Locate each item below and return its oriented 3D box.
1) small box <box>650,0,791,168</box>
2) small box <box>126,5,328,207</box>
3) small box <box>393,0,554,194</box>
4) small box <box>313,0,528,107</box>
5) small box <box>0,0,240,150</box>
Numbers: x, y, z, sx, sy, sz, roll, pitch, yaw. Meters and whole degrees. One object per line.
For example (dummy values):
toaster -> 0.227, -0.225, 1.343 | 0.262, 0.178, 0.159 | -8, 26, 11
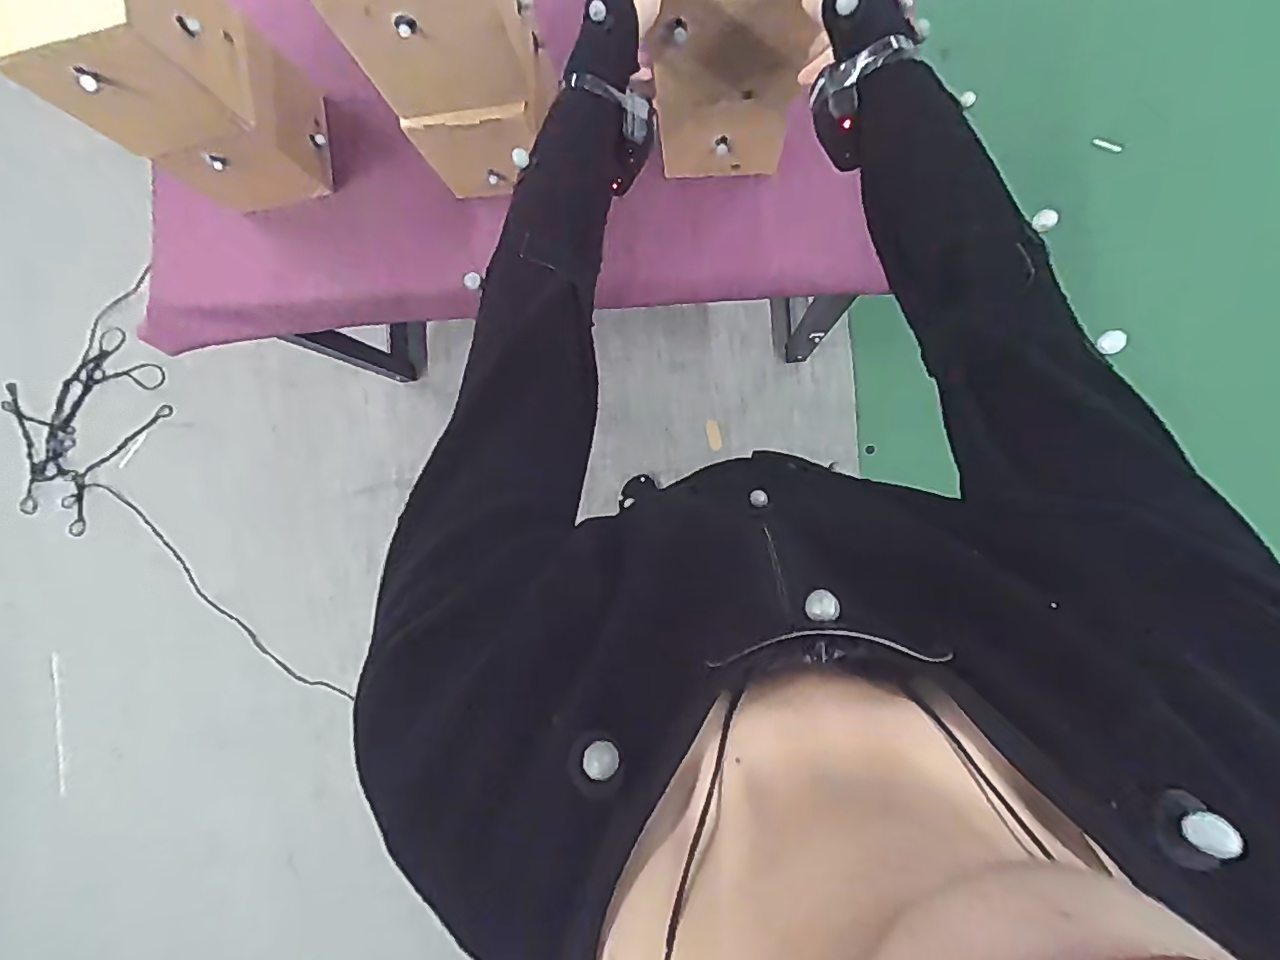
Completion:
small box -> 0.105, -0.539, 0.716 | 0.168, 0.176, 0.179 | 1, 89, 6
small box -> -0.596, -0.526, 0.789 | 0.179, 0.176, 0.168 | -7, 89, 5
small box -> -0.220, -0.531, 0.749 | 0.168, 0.176, 0.179 | -1, 89, 6
small box -> -0.233, -0.543, 0.586 | 0.179, 0.176, 0.168 | -4, 88, 5
small box -> -0.607, -0.524, 0.628 | 0.179, 0.176, 0.168 | -9, 89, 6
